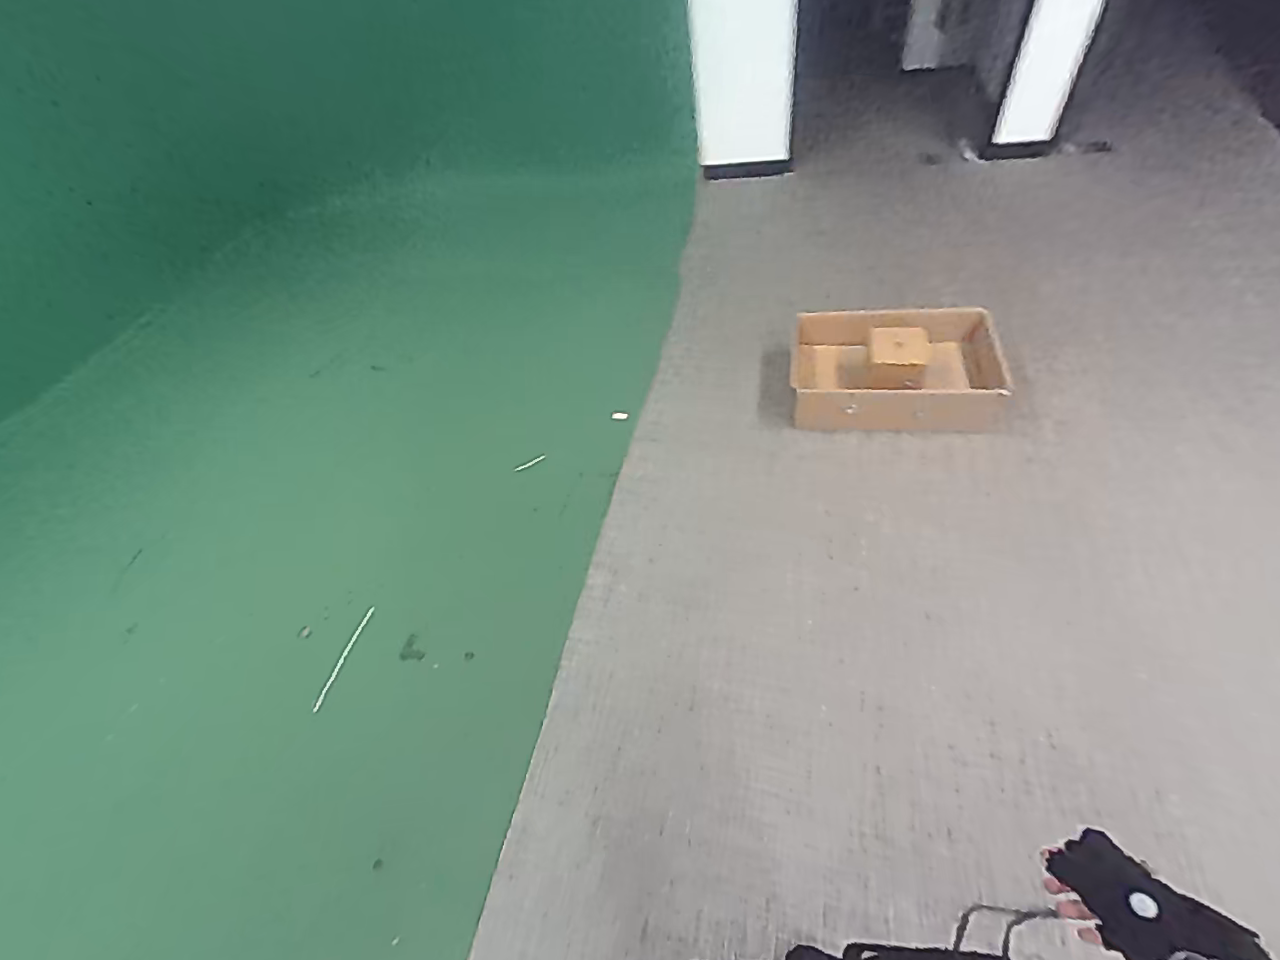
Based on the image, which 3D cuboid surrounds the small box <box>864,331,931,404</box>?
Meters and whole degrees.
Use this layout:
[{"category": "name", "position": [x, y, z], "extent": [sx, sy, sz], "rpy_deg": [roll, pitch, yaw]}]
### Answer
[{"category": "small box", "position": [0.838, -0.368, 1.771], "extent": [0.168, 0.176, 0.179], "rpy_deg": [5, 52, 14]}]
